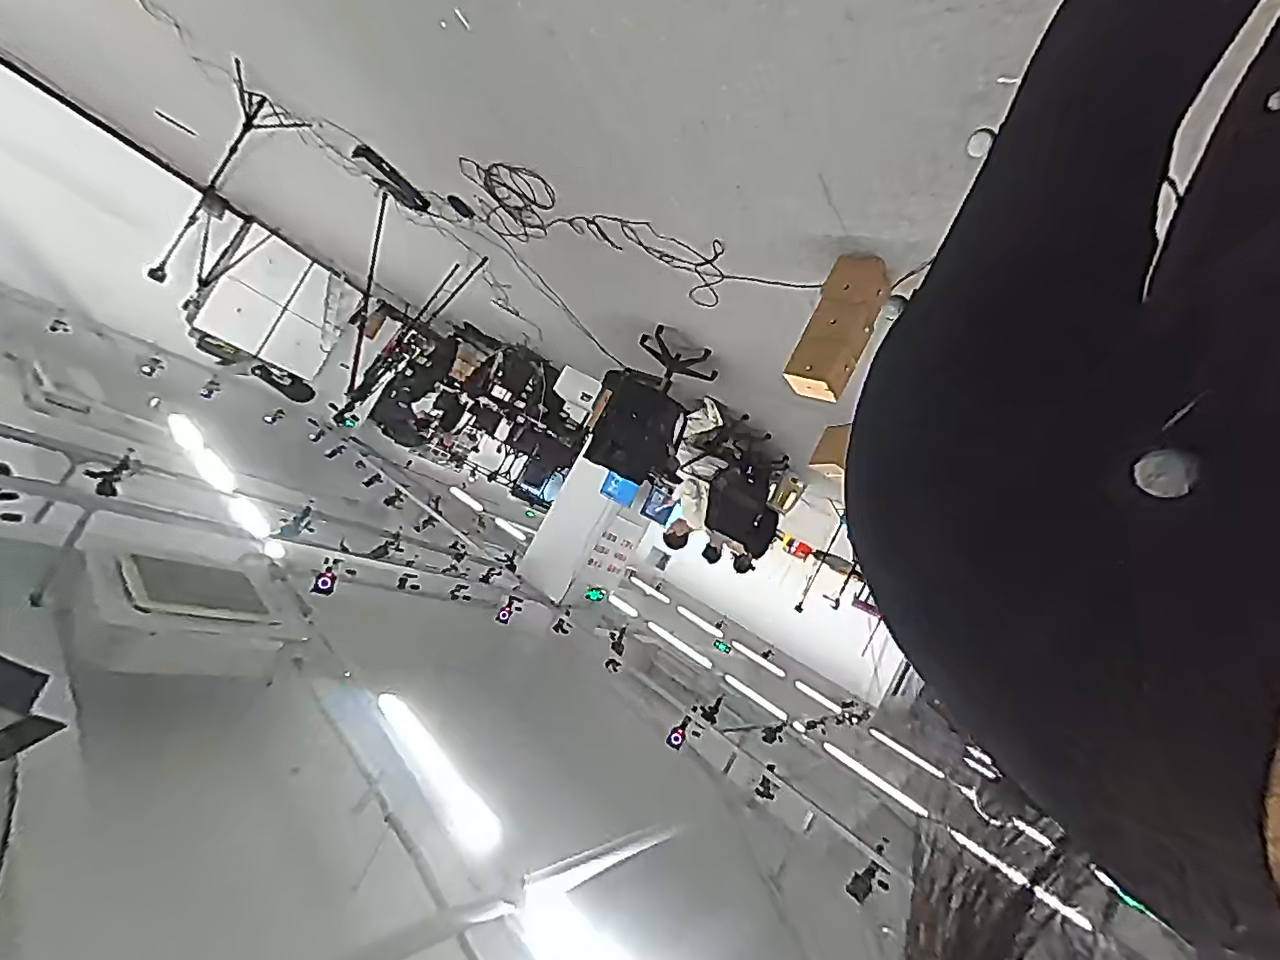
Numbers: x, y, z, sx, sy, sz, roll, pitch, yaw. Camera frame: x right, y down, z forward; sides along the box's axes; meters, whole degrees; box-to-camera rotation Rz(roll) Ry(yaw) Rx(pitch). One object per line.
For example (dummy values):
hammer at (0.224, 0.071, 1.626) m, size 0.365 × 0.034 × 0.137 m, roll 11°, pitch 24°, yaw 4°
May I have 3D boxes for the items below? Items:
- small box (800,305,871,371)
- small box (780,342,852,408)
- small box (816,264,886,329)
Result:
small box at (0.735, -0.538, 2.031) m, size 0.179 × 0.176 × 0.168 m, roll 24°, pitch 175°, yaw 40°
small box at (0.658, -0.395, 2.012) m, size 0.179 × 0.176 × 0.168 m, roll 24°, pitch 174°, yaw 41°
small box at (0.800, -0.689, 2.031) m, size 0.179 × 0.176 × 0.168 m, roll 25°, pitch 174°, yaw 44°
